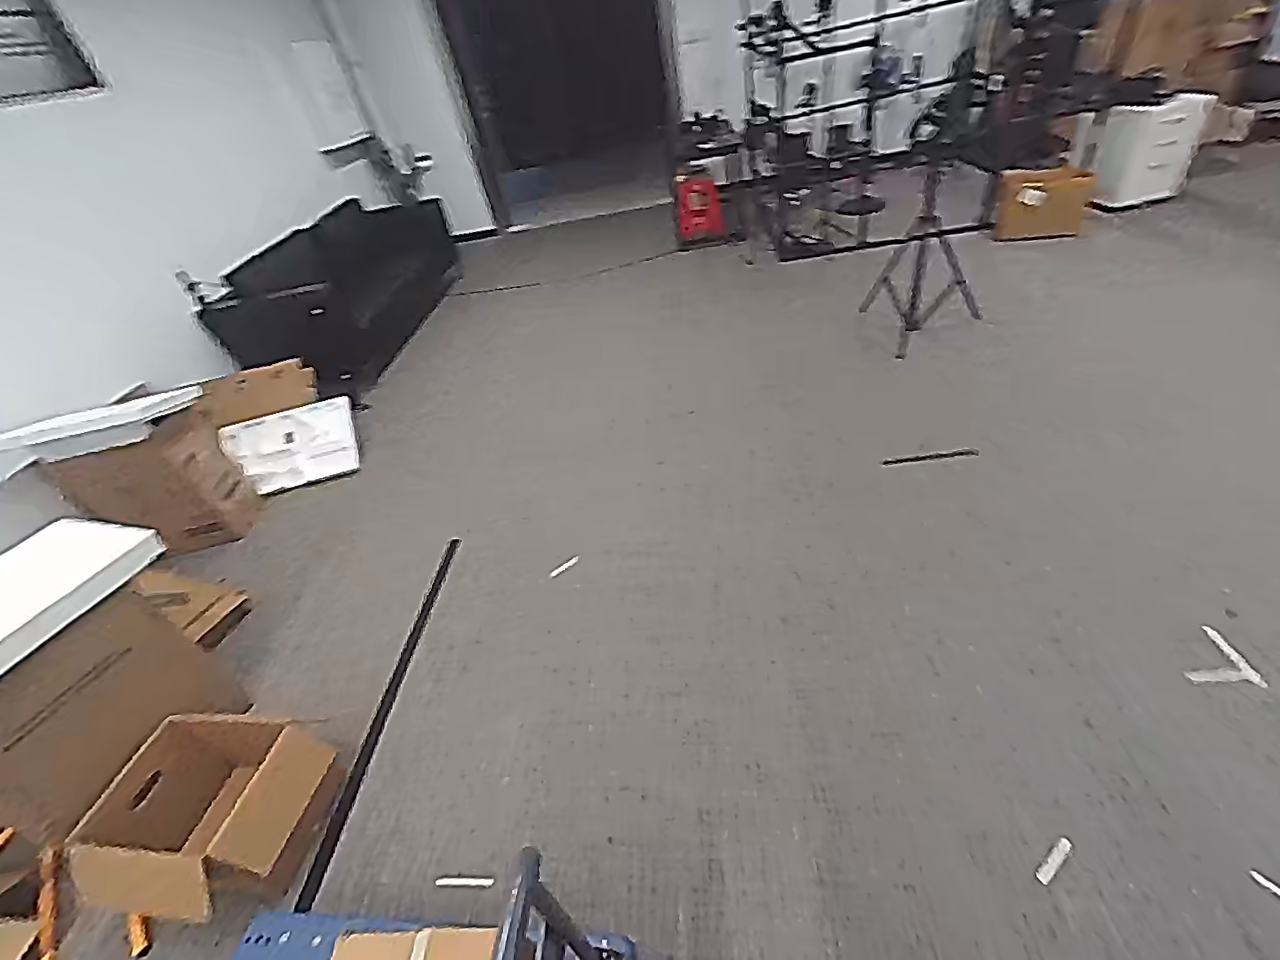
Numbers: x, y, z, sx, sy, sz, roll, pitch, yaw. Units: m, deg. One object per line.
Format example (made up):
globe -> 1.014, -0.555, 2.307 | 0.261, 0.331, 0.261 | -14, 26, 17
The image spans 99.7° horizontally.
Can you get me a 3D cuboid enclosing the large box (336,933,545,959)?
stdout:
large box -> -0.314, 0.979, 0.807 | 0.320, 0.320, 0.408 | -7, 38, 6
